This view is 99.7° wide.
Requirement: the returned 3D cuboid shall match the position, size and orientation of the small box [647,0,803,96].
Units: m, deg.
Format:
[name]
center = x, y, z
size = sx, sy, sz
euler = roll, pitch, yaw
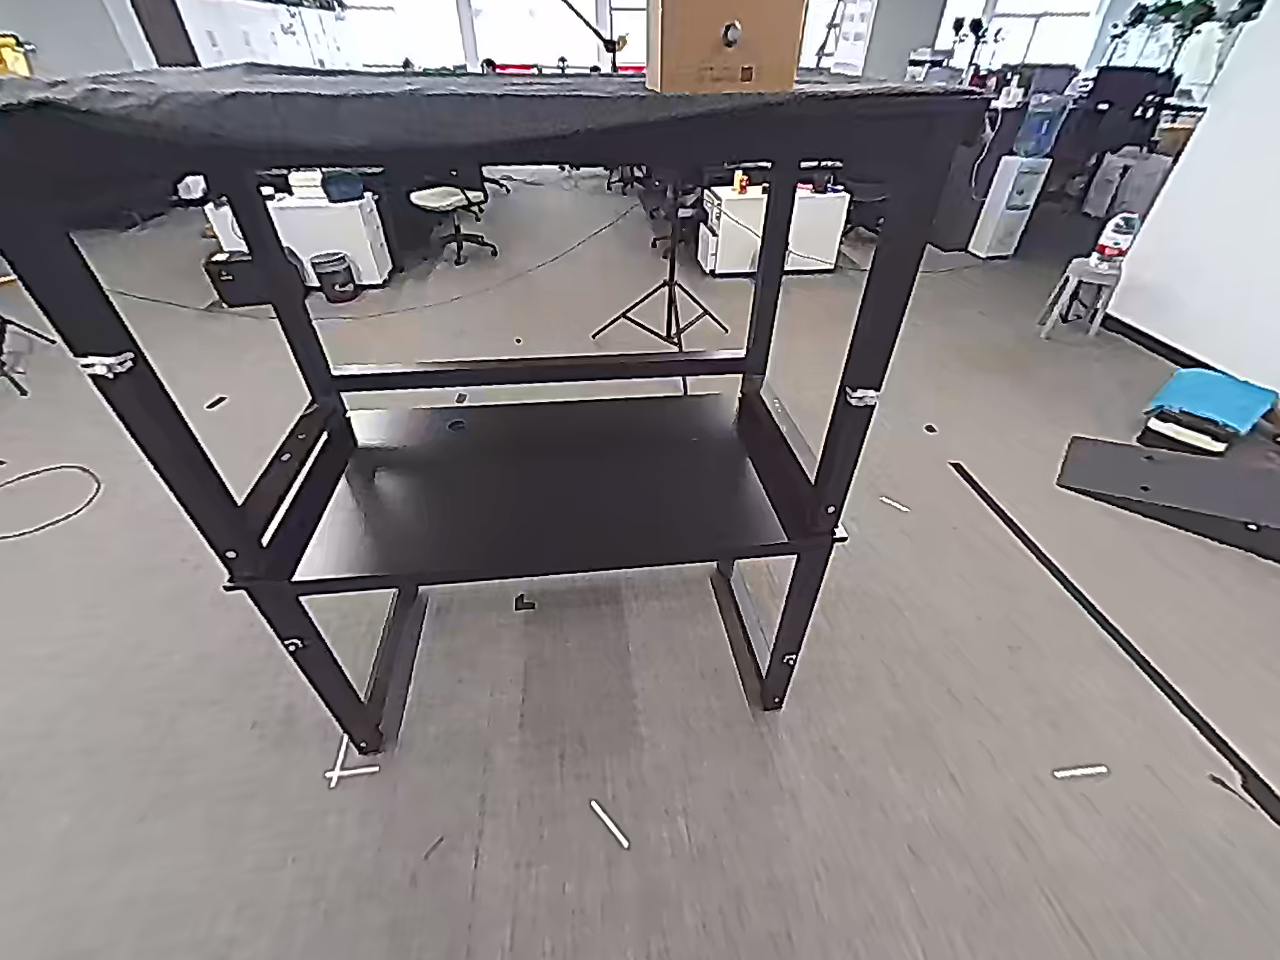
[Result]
[small box]
center = 0.097, -0.586, 0.672
size = 0.168, 0.176, 0.179
euler = -4, 38, -4
